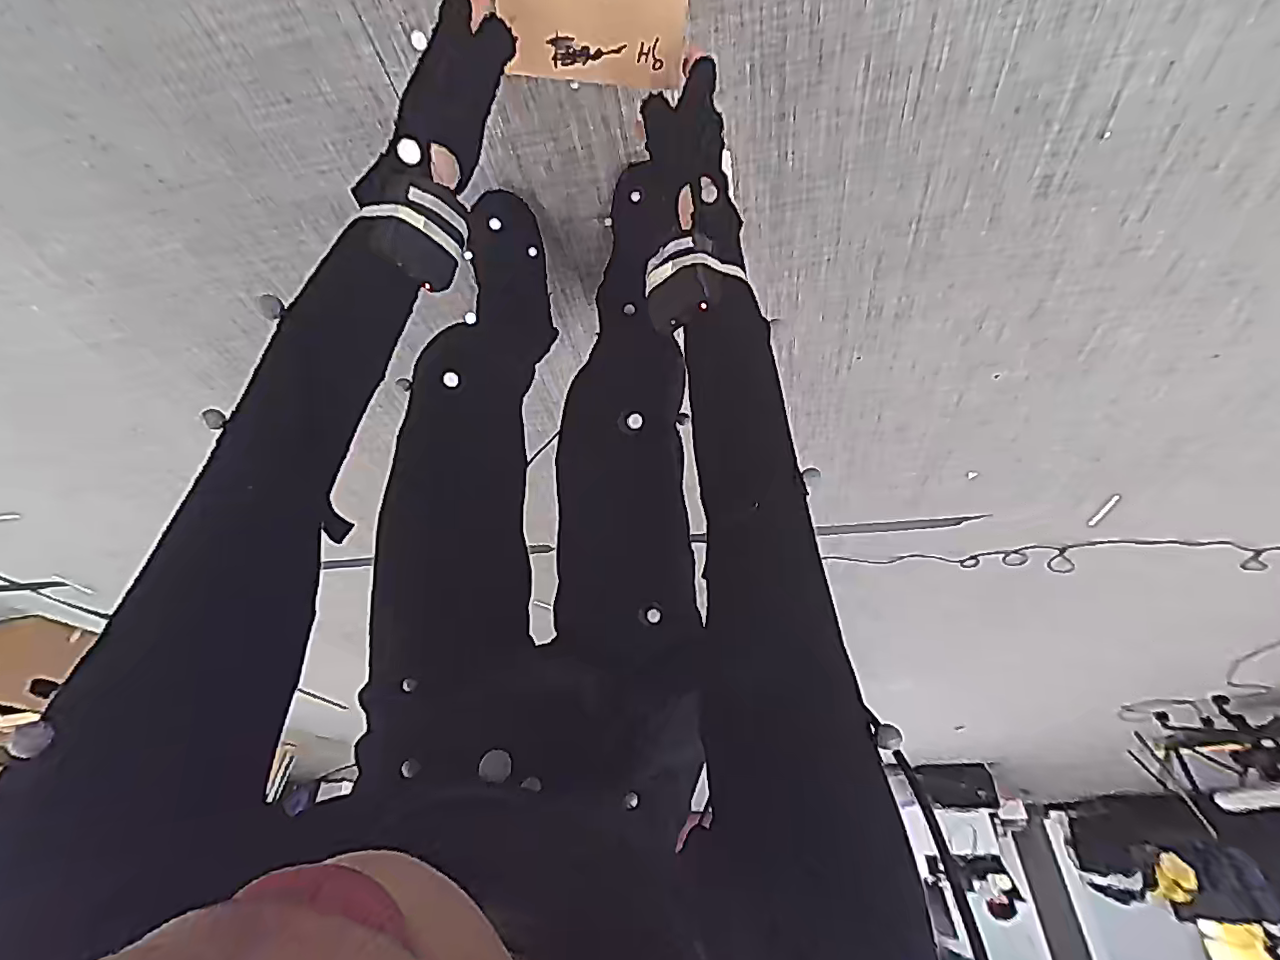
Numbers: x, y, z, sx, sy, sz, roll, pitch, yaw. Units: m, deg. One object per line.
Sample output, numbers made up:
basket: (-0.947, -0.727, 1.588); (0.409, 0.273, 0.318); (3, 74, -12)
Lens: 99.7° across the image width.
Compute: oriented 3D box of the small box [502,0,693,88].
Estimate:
small box: (-0.034, -0.491, 0.485); (0.168, 0.176, 0.179); (3, 143, -3)
